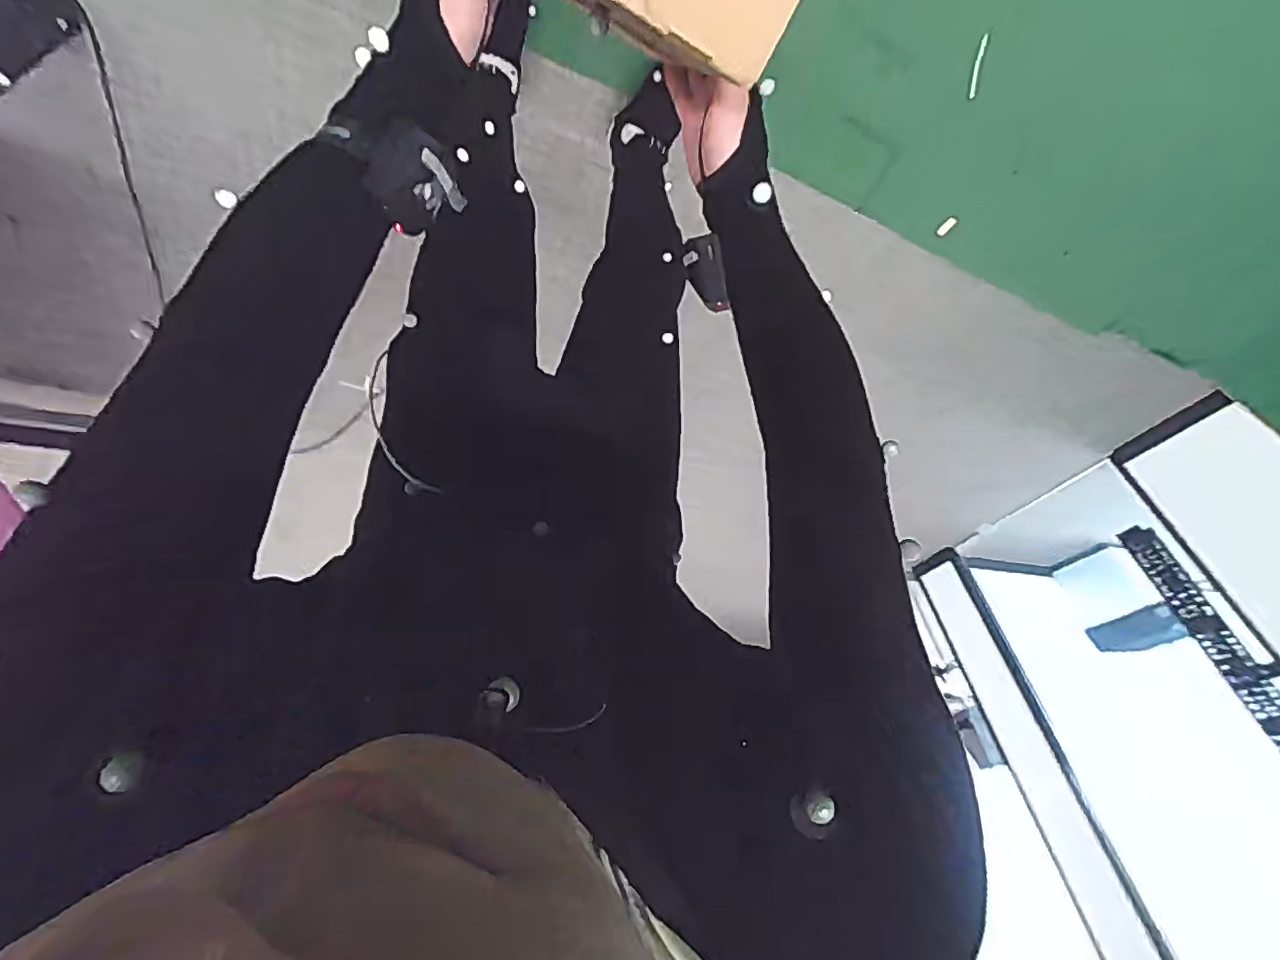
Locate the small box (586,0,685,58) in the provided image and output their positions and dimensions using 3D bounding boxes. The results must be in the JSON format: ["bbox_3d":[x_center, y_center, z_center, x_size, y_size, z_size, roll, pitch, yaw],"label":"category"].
[{"bbox_3d":[-0.004,-0.480,0.425,0.168,0.176,0.179,17,125,-26],"label":"small box"}]

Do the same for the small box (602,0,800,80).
[{"bbox_3d":[0.024,-0.373,0.303,0.168,0.176,0.179,15,127,-25],"label":"small box"}]
